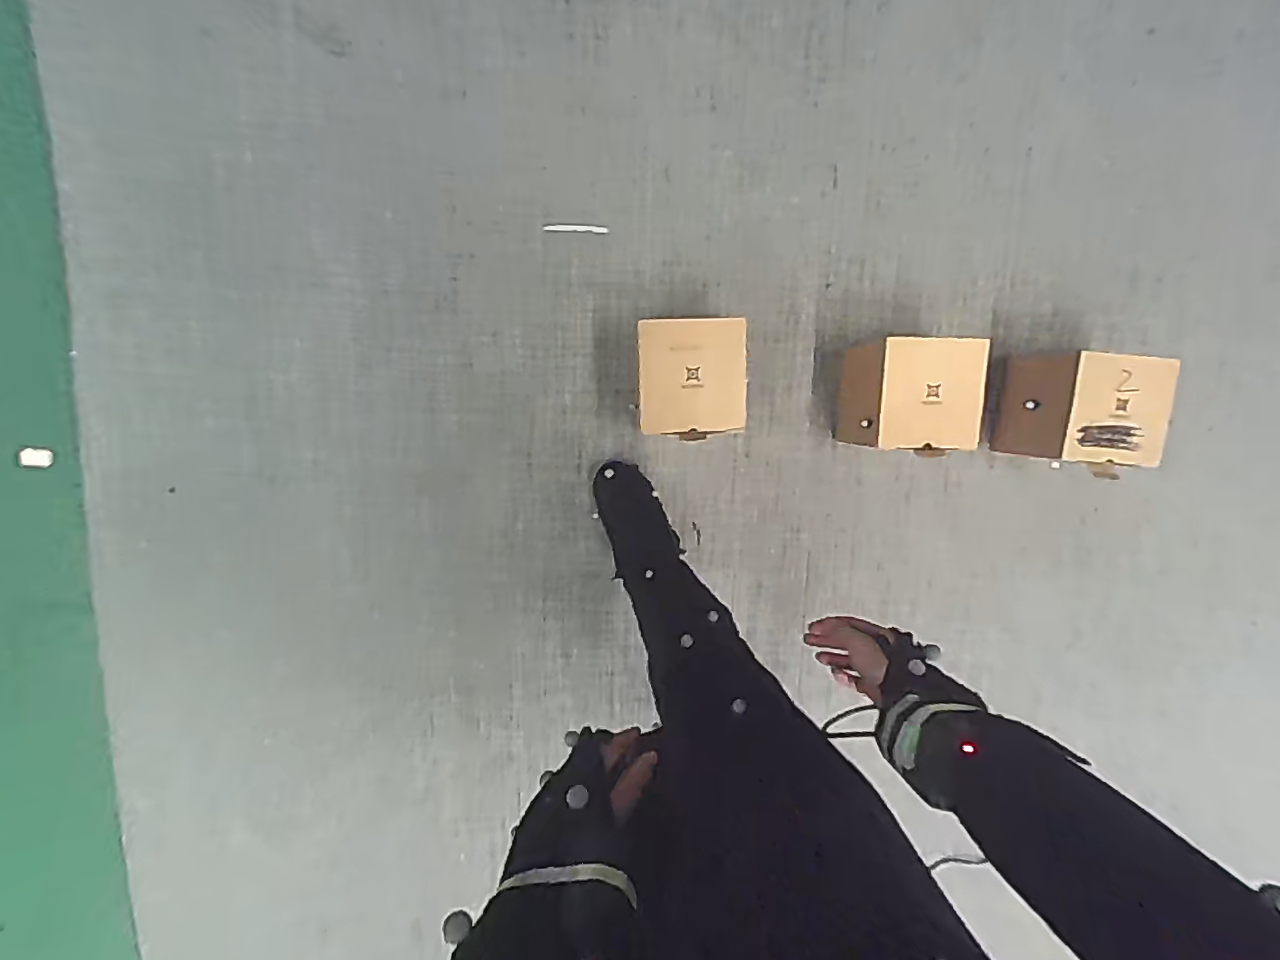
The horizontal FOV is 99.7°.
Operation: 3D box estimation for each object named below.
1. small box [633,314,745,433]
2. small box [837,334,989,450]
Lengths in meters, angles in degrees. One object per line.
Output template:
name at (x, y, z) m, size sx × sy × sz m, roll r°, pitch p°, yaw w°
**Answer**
small box at (0.074, -0.171, 0.895) m, size 0.168 × 0.176 × 0.179 m, roll -2°, pitch 97°, yaw -3°
small box at (0.448, -0.145, 0.914) m, size 0.168 × 0.176 × 0.179 m, roll 1°, pitch 98°, yaw -3°
